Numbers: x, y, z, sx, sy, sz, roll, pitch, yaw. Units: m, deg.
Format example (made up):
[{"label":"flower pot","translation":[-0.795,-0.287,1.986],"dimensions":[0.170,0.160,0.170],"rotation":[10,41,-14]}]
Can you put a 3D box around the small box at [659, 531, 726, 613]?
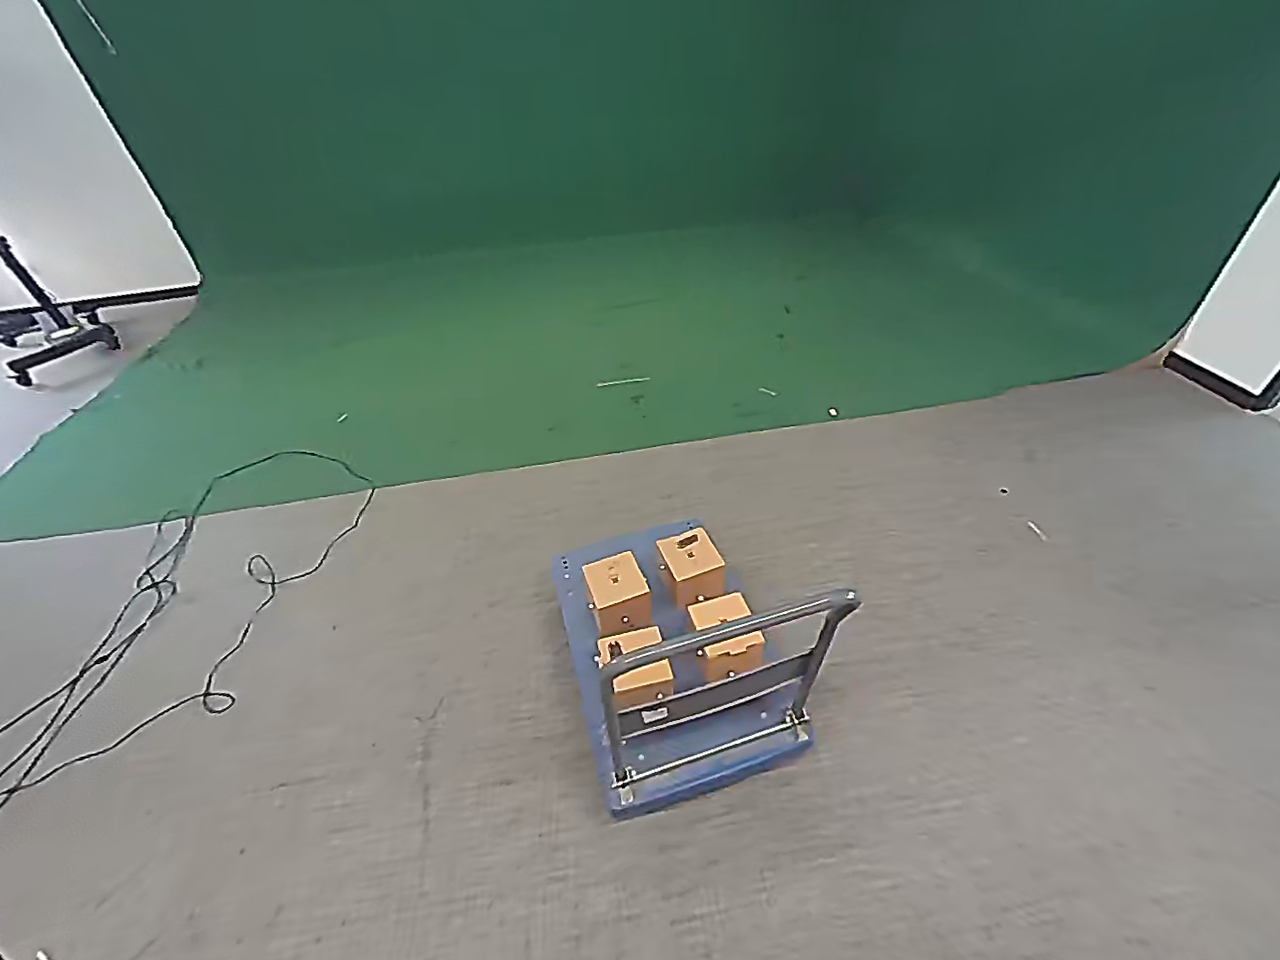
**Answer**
[{"label":"small box","translation":[0.168,0.303,1.772],"dimensions":[0.168,0.176,0.179],"rotation":[-17,44,-12]}]

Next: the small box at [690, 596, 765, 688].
[{"label":"small box","translation":[0.247,0.472,1.575],"dimensions":[0.168,0.176,0.179],"rotation":[-13,42,-10]}]

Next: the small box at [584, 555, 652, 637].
[{"label":"small box","translation":[-0.067,0.374,1.715],"dimensions":[0.168,0.176,0.179],"rotation":[-16,42,-13]}]
